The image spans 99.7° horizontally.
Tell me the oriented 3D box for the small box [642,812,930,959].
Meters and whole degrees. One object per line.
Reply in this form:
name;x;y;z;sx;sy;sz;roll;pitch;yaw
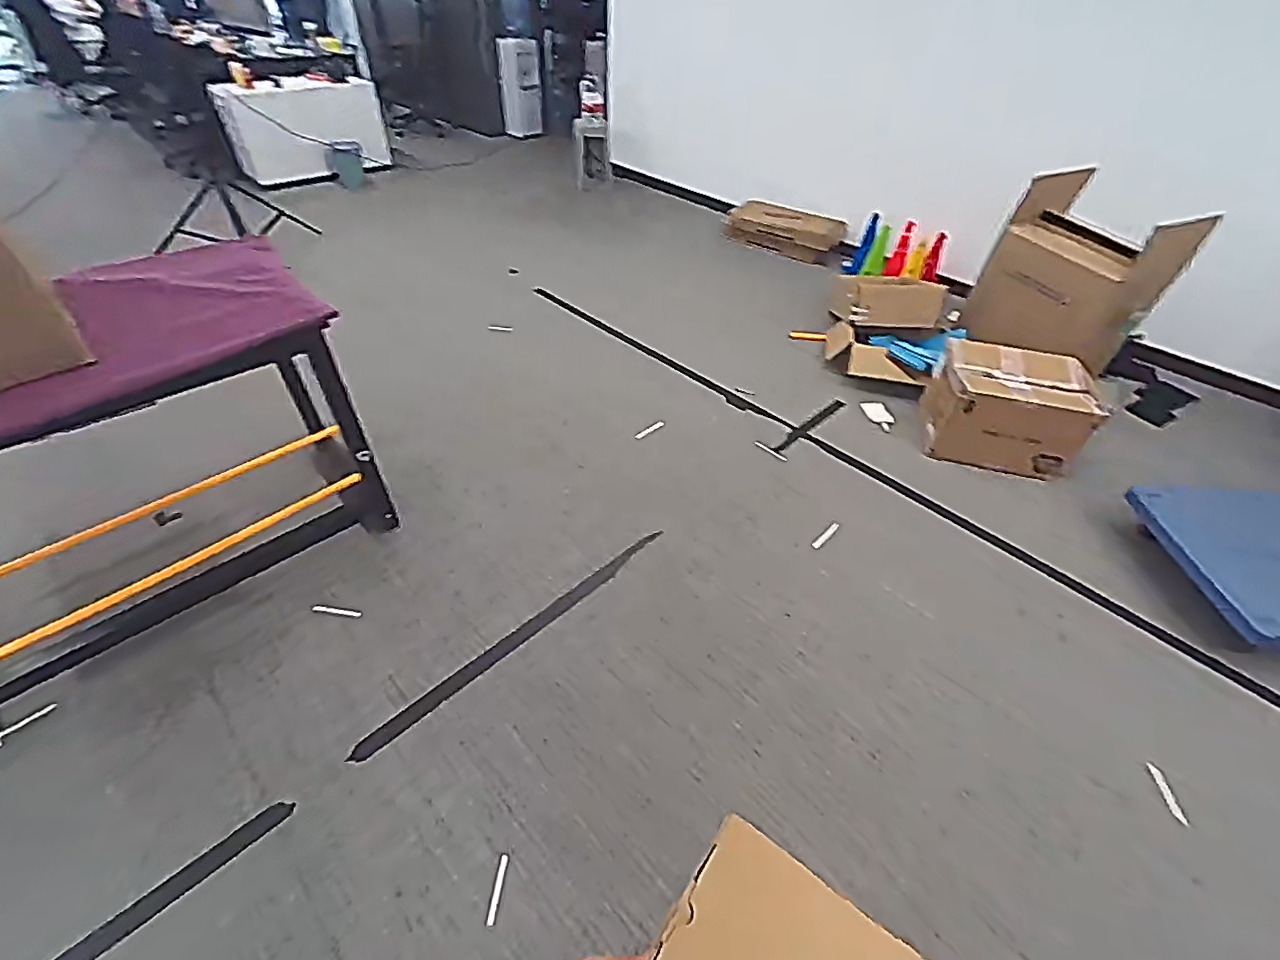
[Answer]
small box;0.076;0.381;0.358;0.179;0.176;0.168;27;32;23
